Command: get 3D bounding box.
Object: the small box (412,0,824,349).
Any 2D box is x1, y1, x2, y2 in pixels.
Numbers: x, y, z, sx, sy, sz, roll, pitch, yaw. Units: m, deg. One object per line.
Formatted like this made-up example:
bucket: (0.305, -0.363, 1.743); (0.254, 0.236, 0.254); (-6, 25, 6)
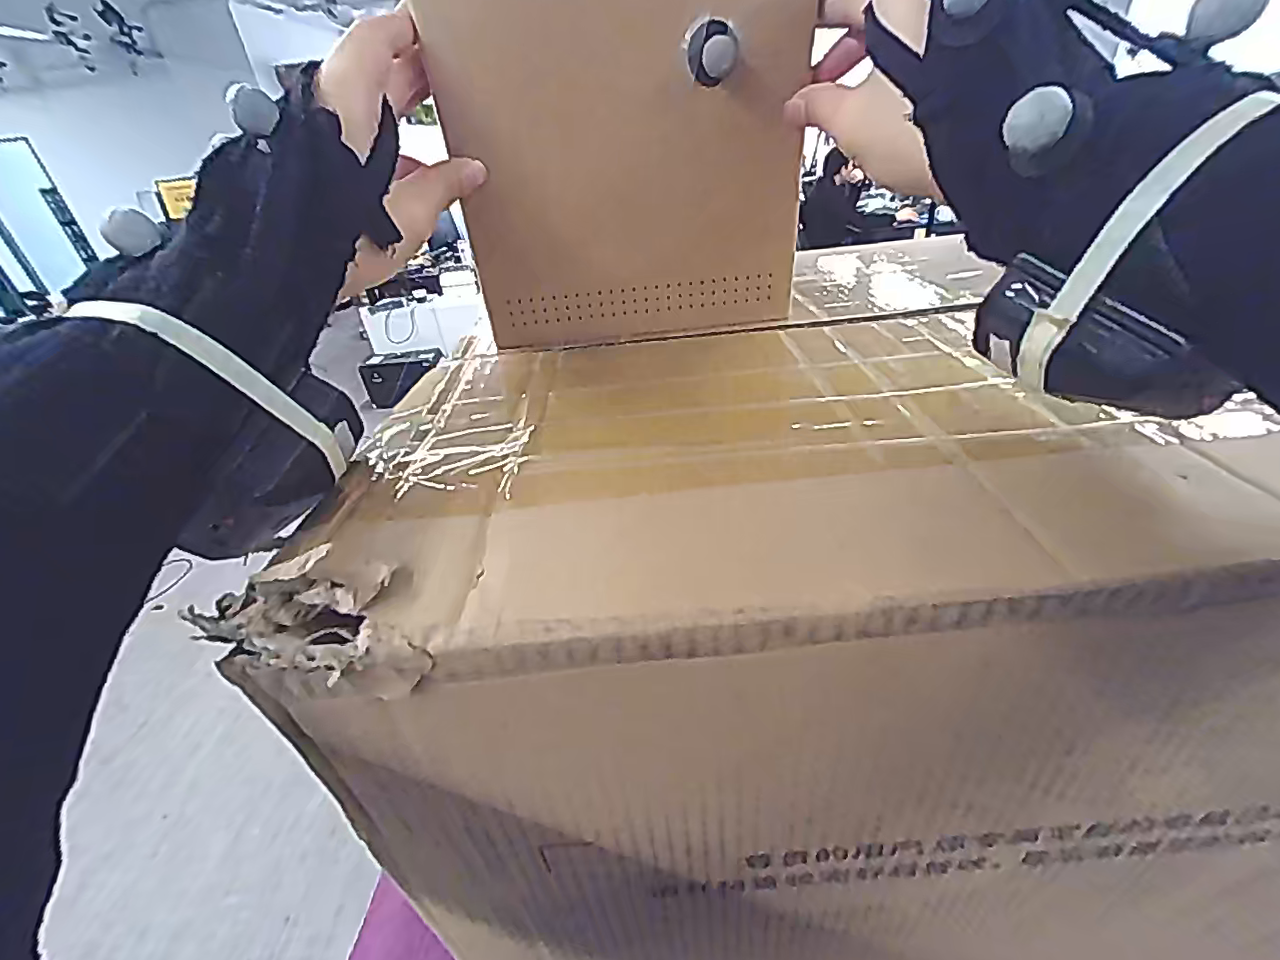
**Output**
small box: (-0.008, -0.194, 0.329); (0.179, 0.176, 0.168); (-6, 36, 0)
